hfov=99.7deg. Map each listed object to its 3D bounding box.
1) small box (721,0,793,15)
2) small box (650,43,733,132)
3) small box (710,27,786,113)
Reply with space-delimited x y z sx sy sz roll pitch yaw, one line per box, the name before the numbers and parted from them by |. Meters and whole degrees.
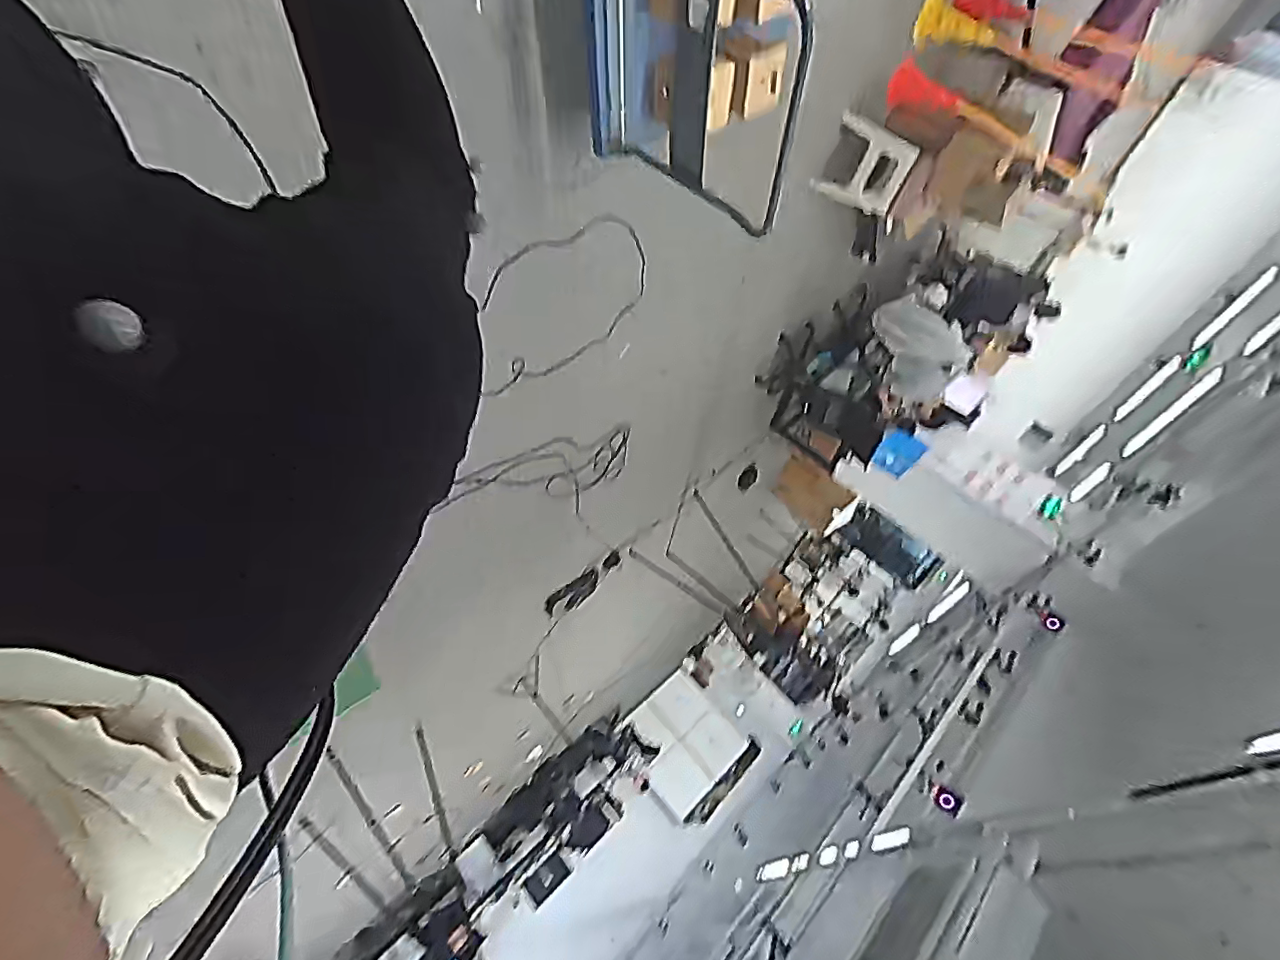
small box | 0.345 -1.489 1.560 0.179 0.176 0.168 -38 155 -19
small box | 0.155 -1.217 1.670 0.179 0.176 0.168 -35 153 -24
small box | 0.342 -1.348 1.772 0.179 0.176 0.168 -36 153 -21
